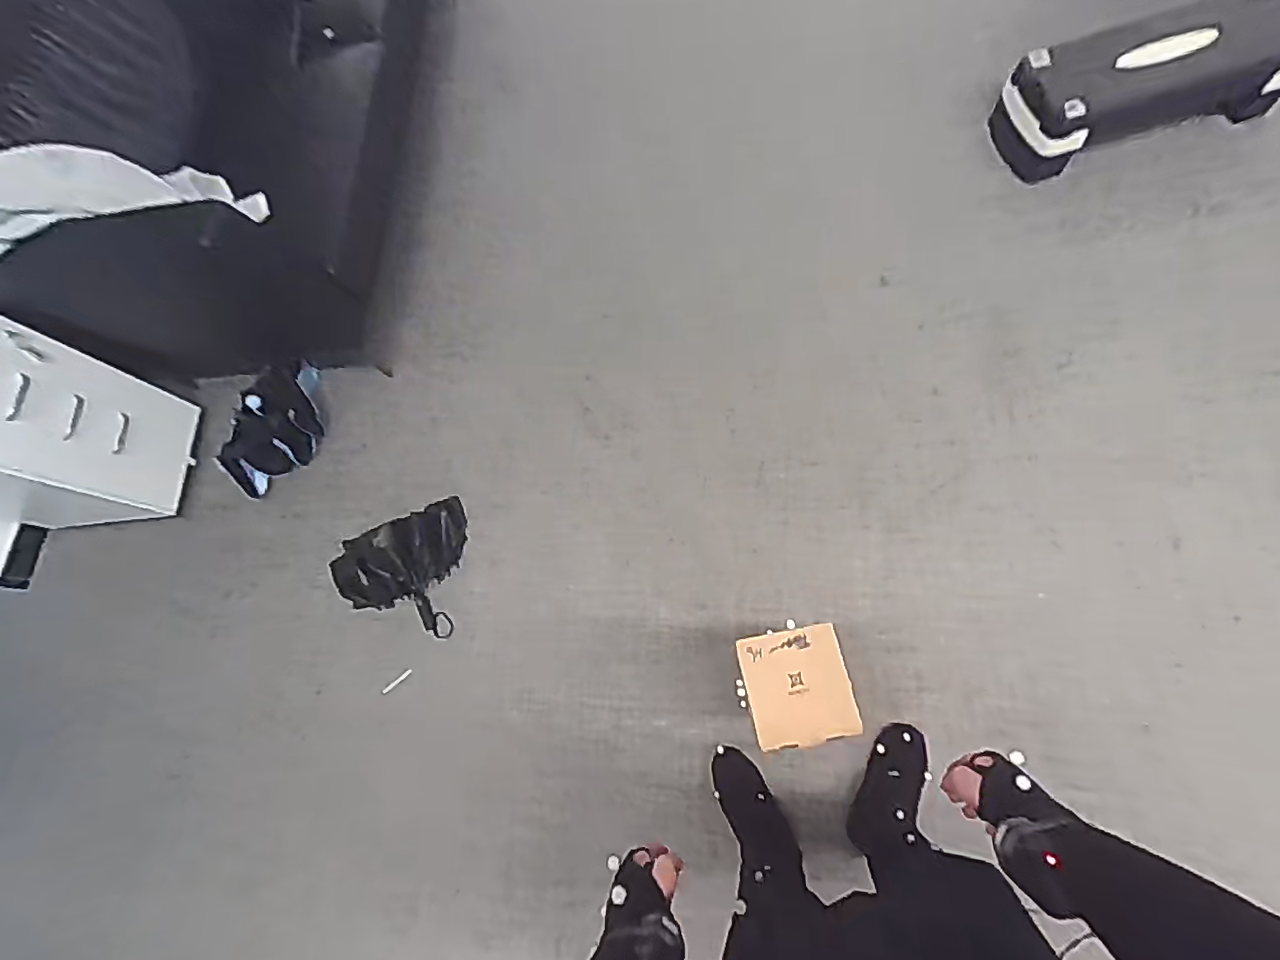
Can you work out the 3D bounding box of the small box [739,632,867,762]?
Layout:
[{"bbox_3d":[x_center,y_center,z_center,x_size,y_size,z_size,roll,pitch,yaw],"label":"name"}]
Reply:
[{"bbox_3d":[0.275,0.368,0.942,0.168,0.176,0.179,-14,71,7],"label":"small box"}]
